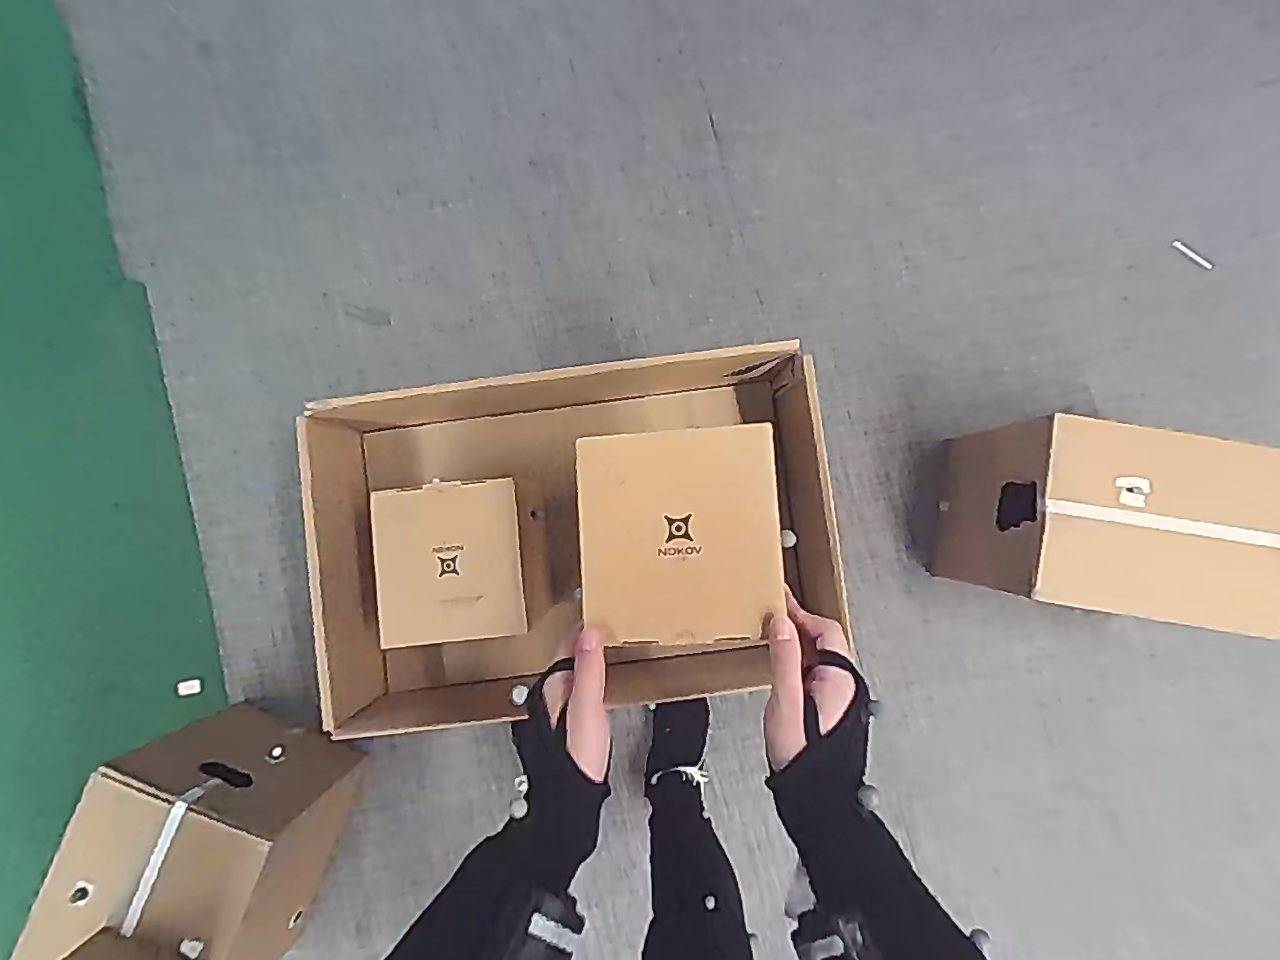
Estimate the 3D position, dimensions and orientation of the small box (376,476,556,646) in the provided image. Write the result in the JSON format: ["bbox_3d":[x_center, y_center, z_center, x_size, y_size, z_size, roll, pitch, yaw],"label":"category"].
[{"bbox_3d":[-0.205,0.094,0.674,0.168,0.176,0.179,-6,87,1],"label":"small box"}]

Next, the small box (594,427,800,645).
[{"bbox_3d":[0.051,0.054,0.525,0.168,0.176,0.179,-3,85,6],"label":"small box"}]

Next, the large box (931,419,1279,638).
[{"bbox_3d":[0.845,0.084,1.026,0.408,0.320,0.320,9,86,2],"label":"large box"}]

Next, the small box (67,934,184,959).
[{"bbox_3d":[-0.764,0.779,0.736,0.179,0.176,0.168,21,87,0],"label":"small box"}]
